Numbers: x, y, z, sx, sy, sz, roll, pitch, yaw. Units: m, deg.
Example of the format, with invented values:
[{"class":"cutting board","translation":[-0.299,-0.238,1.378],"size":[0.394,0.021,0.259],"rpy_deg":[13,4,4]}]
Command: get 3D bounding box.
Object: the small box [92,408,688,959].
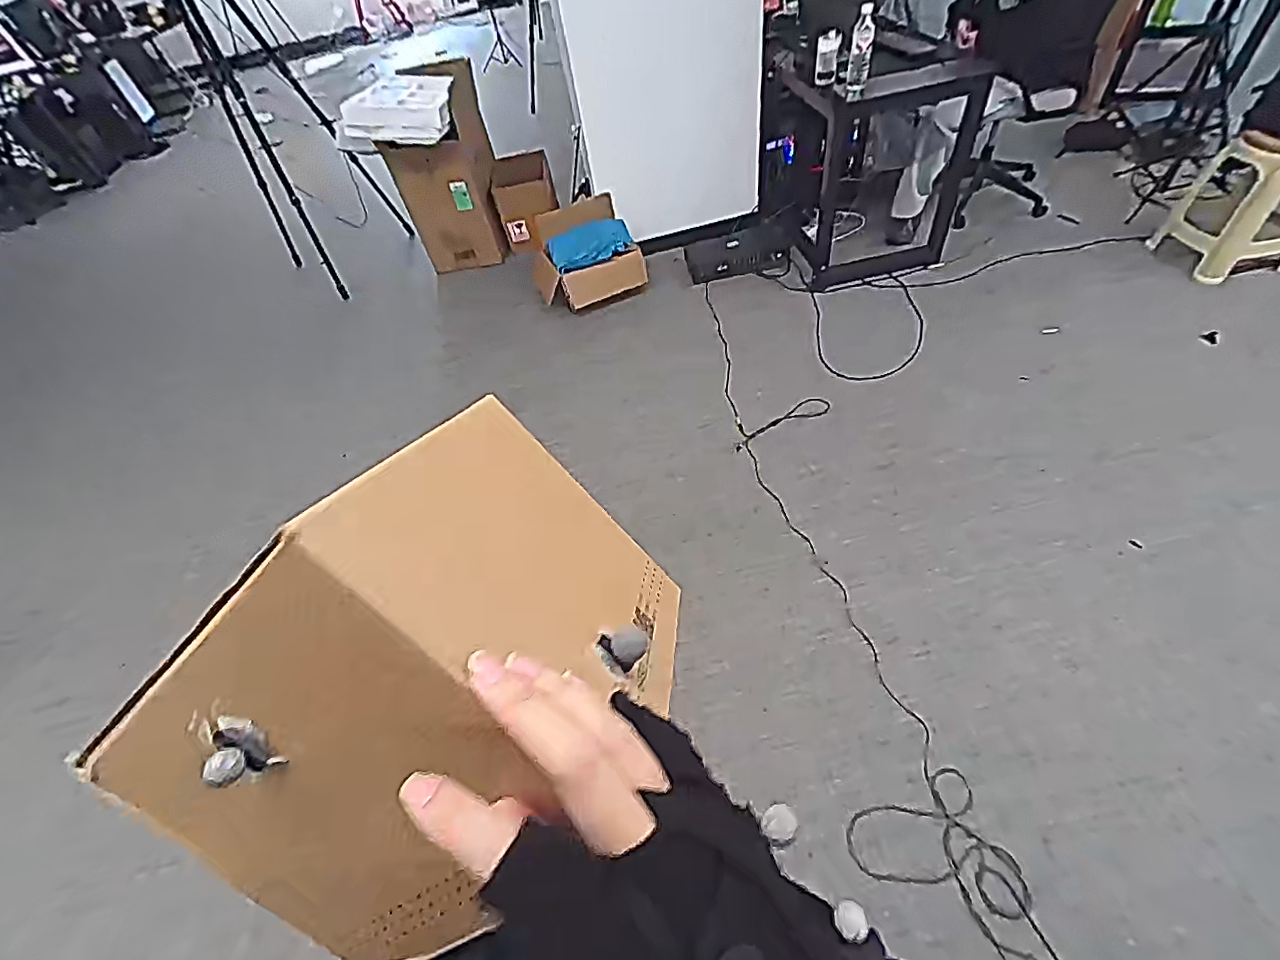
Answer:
[{"class":"small box","translation":[-0.097,0.096,0.281],"size":[0.179,0.176,0.168],"rpy_deg":[-38,13,19]}]
